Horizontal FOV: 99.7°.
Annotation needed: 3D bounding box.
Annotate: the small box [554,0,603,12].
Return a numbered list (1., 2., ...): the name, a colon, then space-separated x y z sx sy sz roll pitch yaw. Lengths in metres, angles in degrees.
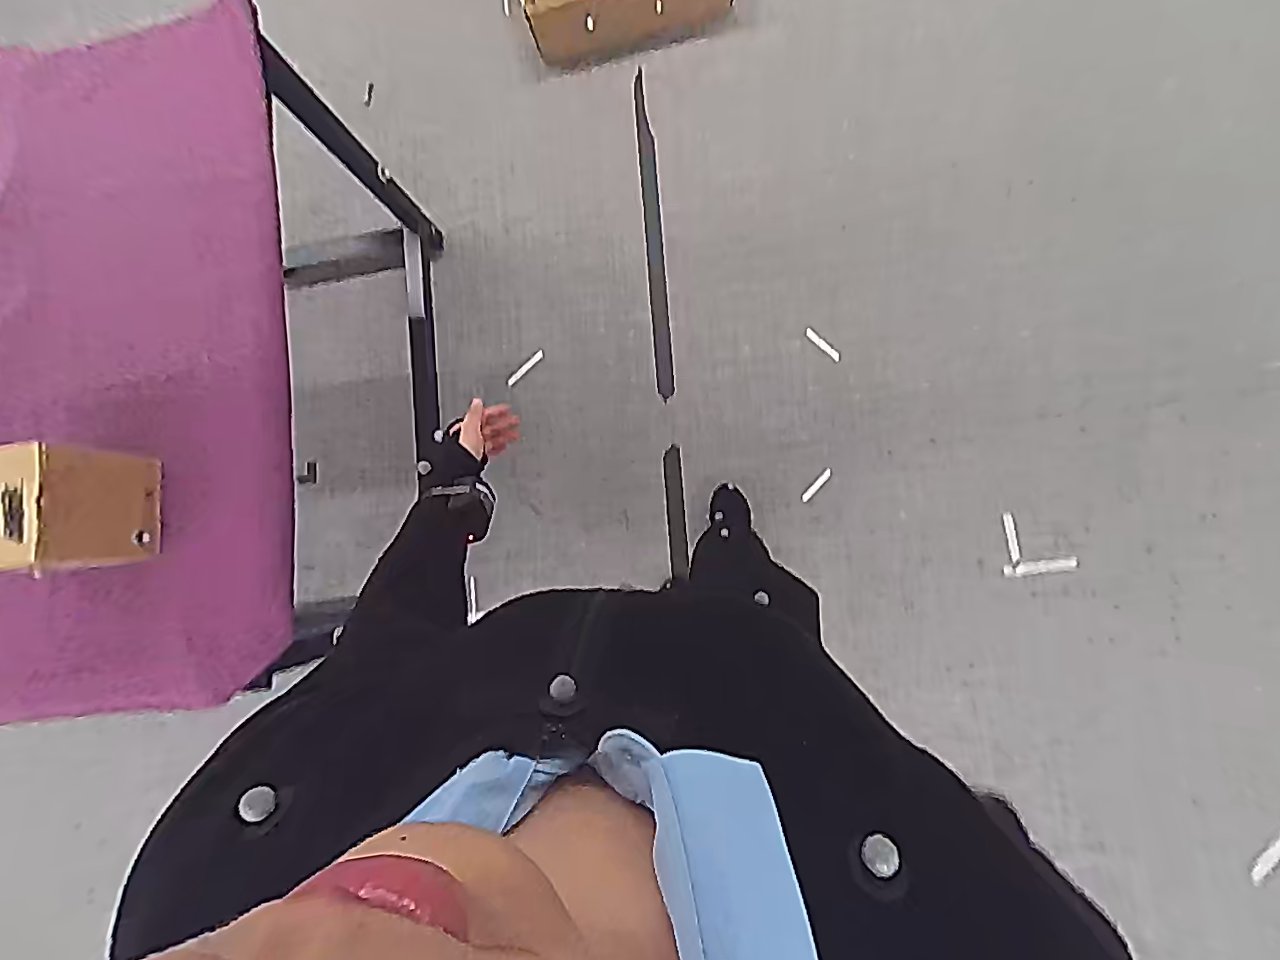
1. small box: -0.194 -1.552 1.601 0.179 0.176 0.168 -12 81 4

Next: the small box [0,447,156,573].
1. small box: -0.882 0.050 0.813 0.179 0.176 0.168 -6 82 6
